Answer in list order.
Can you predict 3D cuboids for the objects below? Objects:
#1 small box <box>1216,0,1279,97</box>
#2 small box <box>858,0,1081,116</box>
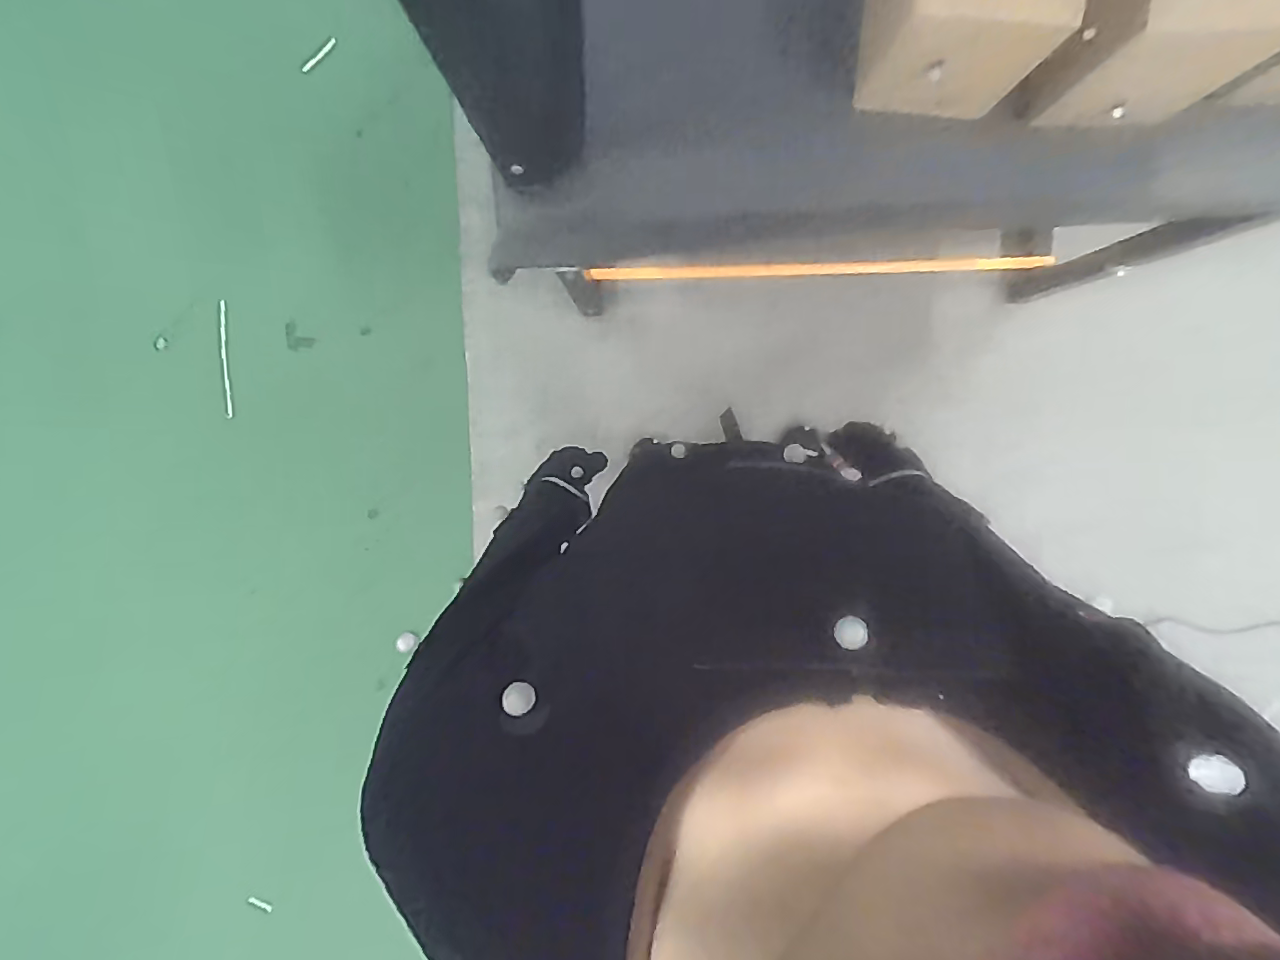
[{"bbox_3d":[0.801,-0.550,0.591,0.168,0.176,0.179,2,95,1],"label":"small box"},{"bbox_3d":[0.360,-0.545,0.605,0.168,0.176,0.179,5,95,1],"label":"small box"}]
